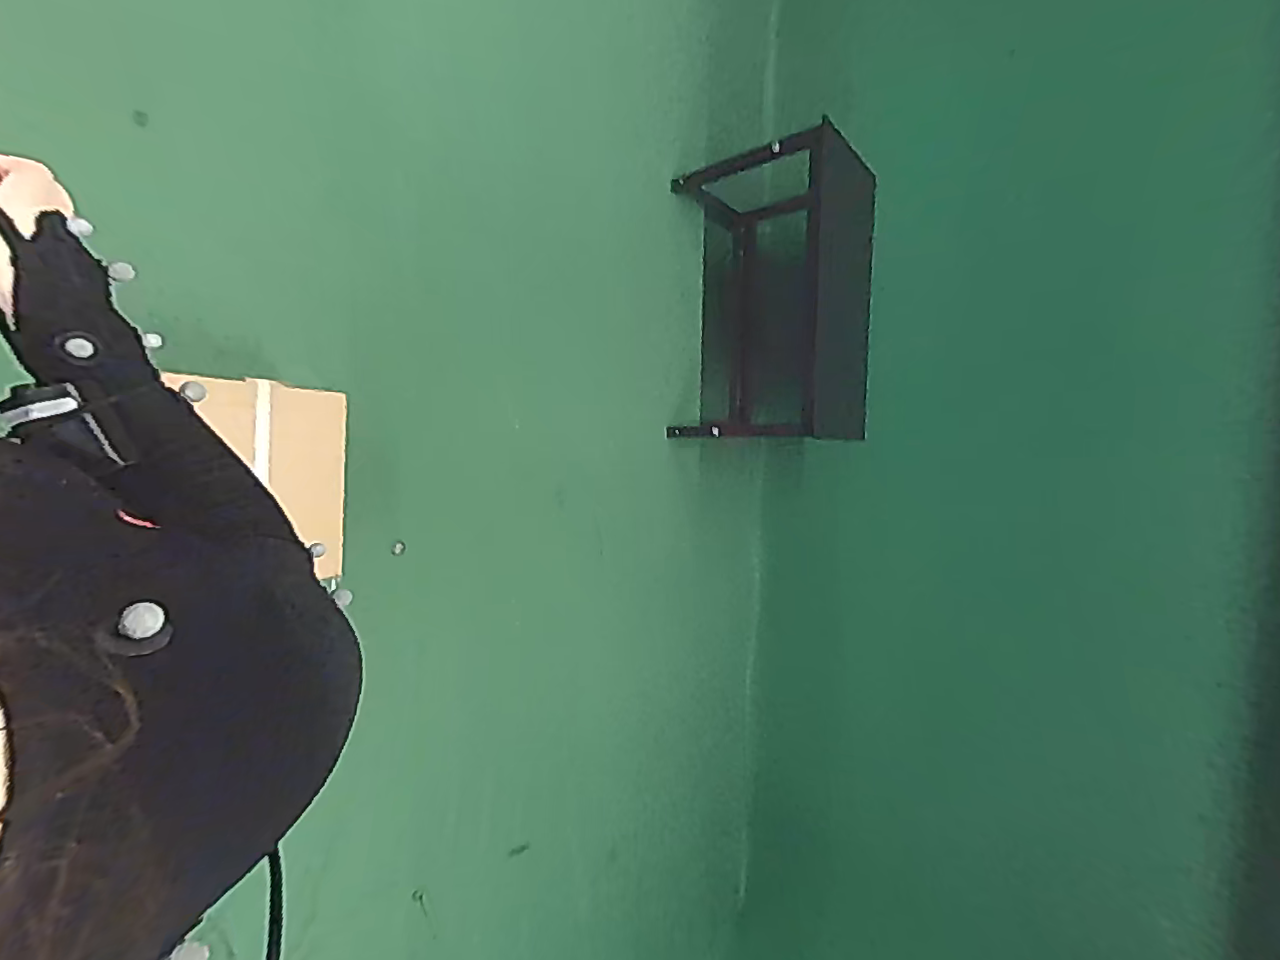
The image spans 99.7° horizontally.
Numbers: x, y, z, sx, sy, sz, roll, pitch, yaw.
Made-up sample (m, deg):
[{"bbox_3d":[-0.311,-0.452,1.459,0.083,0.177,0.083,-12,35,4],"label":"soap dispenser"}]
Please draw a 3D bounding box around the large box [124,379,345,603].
[{"bbox_3d":[-0.858,0.010,1.147,0.320,0.320,0.408,0,93,-50],"label":"large box"}]
